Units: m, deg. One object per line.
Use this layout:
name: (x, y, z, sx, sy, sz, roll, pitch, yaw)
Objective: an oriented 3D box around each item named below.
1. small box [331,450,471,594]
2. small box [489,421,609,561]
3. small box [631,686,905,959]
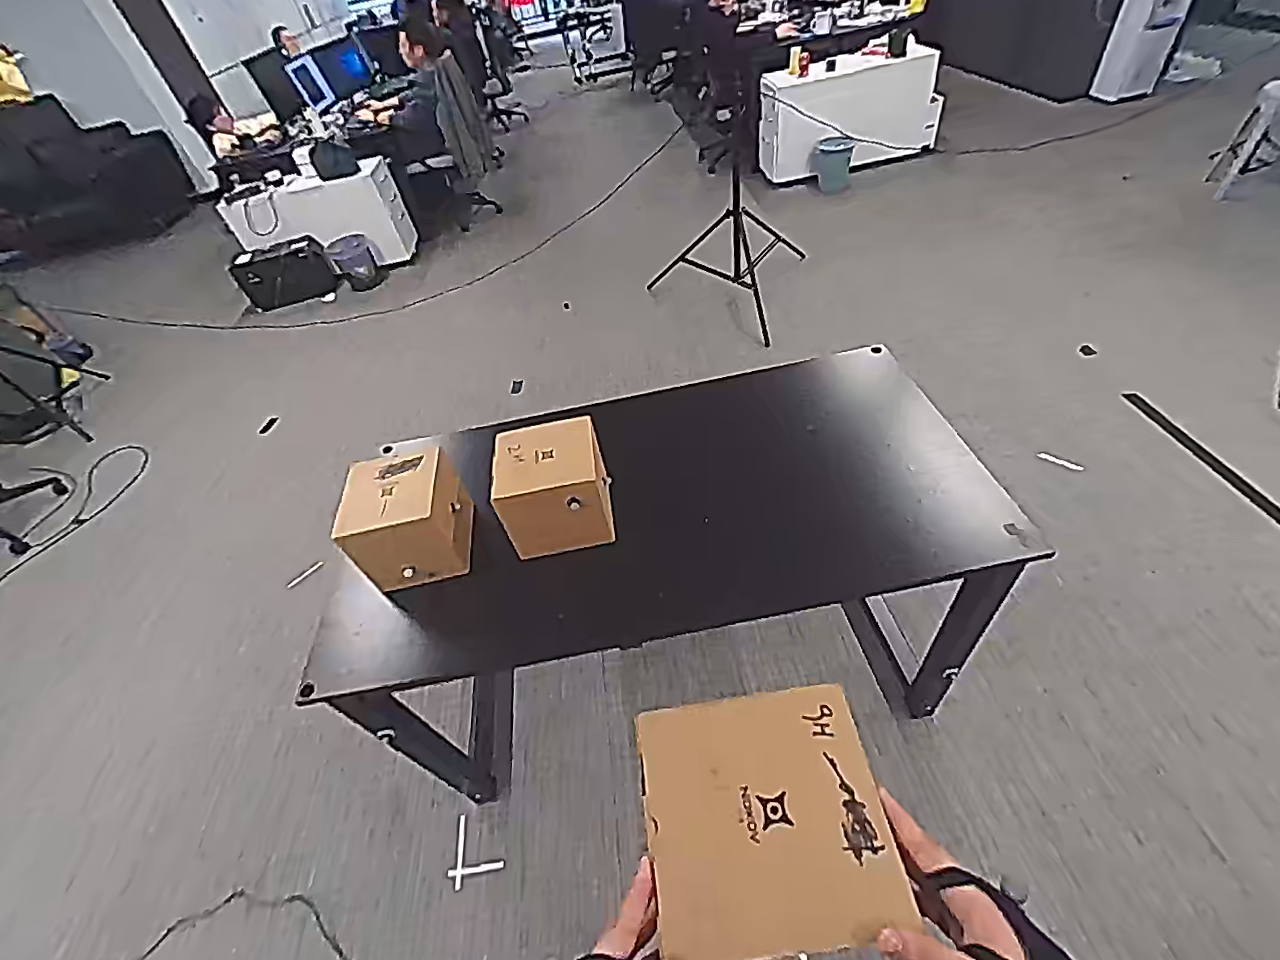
small box: (-0.417, 0.077, 0.979, 0.168, 0.176, 0.179, -13, 47, 0)
small box: (-0.155, 0.023, 0.975, 0.179, 0.176, 0.168, -11, 45, 1)
small box: (0.095, 0.299, 0.471, 0.179, 0.176, 0.168, -9, 51, 1)
